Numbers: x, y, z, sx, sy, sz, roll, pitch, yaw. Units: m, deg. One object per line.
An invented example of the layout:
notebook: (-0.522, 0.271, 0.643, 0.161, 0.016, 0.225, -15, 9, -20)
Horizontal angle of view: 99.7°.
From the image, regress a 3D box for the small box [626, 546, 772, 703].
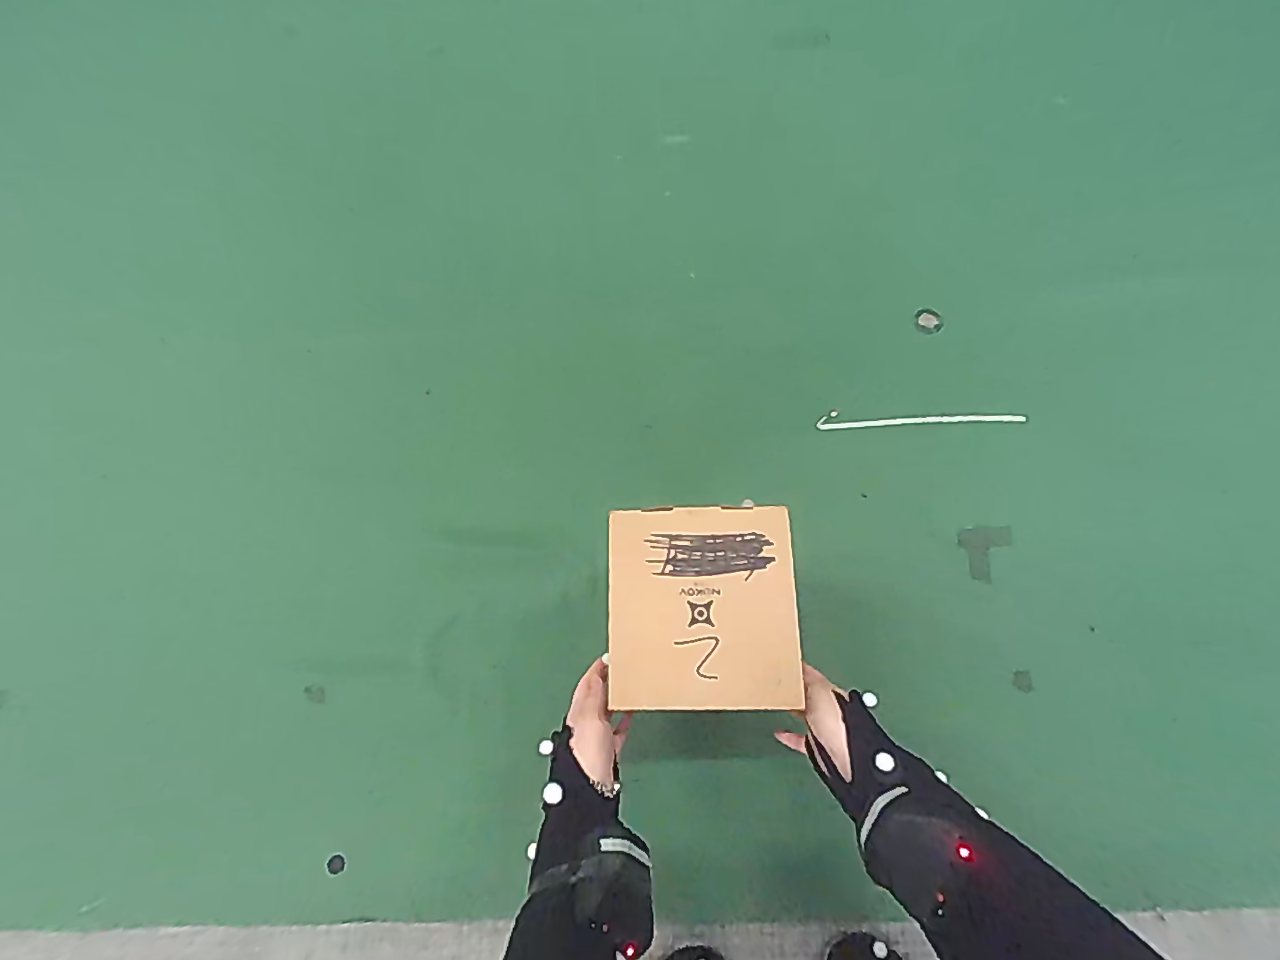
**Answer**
small box: (0.072, 0.186, 0.700, 0.168, 0.176, 0.179, -2, 73, 4)
